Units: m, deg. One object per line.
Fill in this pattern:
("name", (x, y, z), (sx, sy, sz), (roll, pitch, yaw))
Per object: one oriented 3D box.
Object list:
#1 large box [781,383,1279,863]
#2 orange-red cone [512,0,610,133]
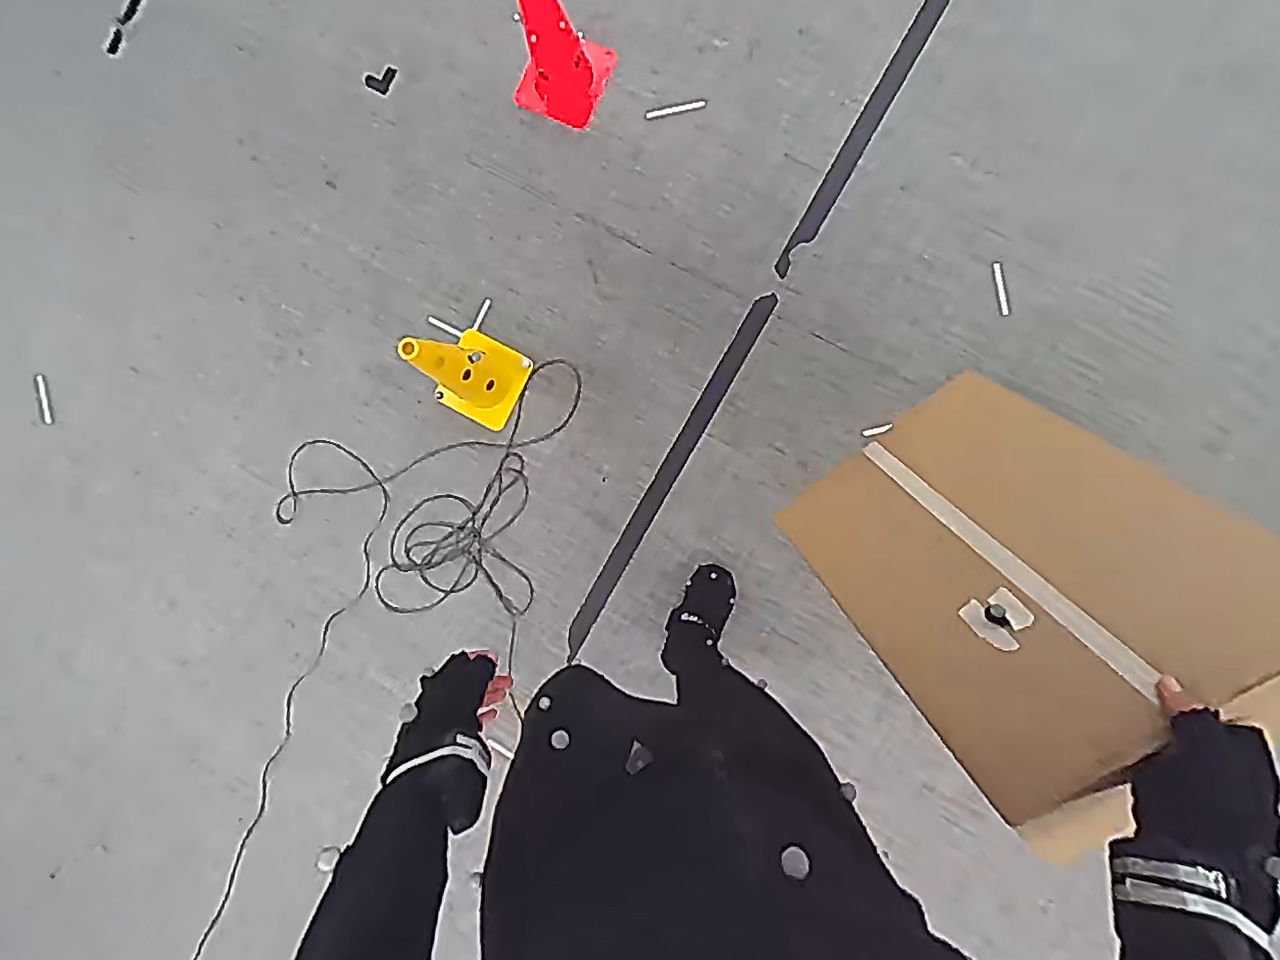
("large box", (0.448, 0.157, 0.655), (0.320, 0.408, 0.320), (-39, 128, 10))
("orange-red cone", (-0.214, -0.956, 1.139), (0.198, 0.360, 0.199), (26, 95, 6))
